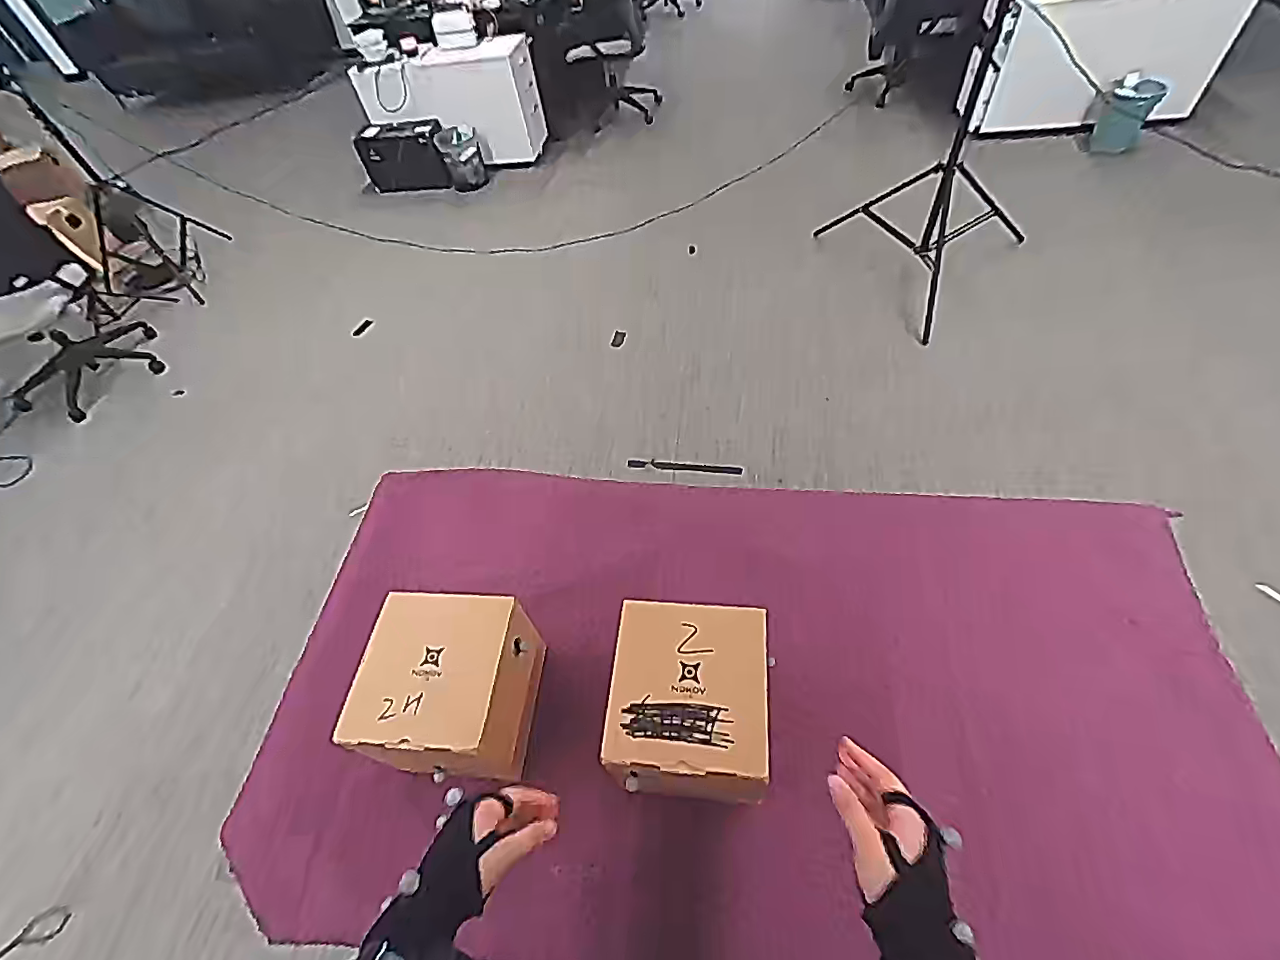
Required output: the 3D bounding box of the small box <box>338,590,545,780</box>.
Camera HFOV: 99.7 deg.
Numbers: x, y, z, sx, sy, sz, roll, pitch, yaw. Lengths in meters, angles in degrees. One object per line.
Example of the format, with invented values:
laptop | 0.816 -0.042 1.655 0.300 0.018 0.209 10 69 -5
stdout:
small box | -0.225 0.255 0.671 0.168 0.176 0.179 0 53 7
